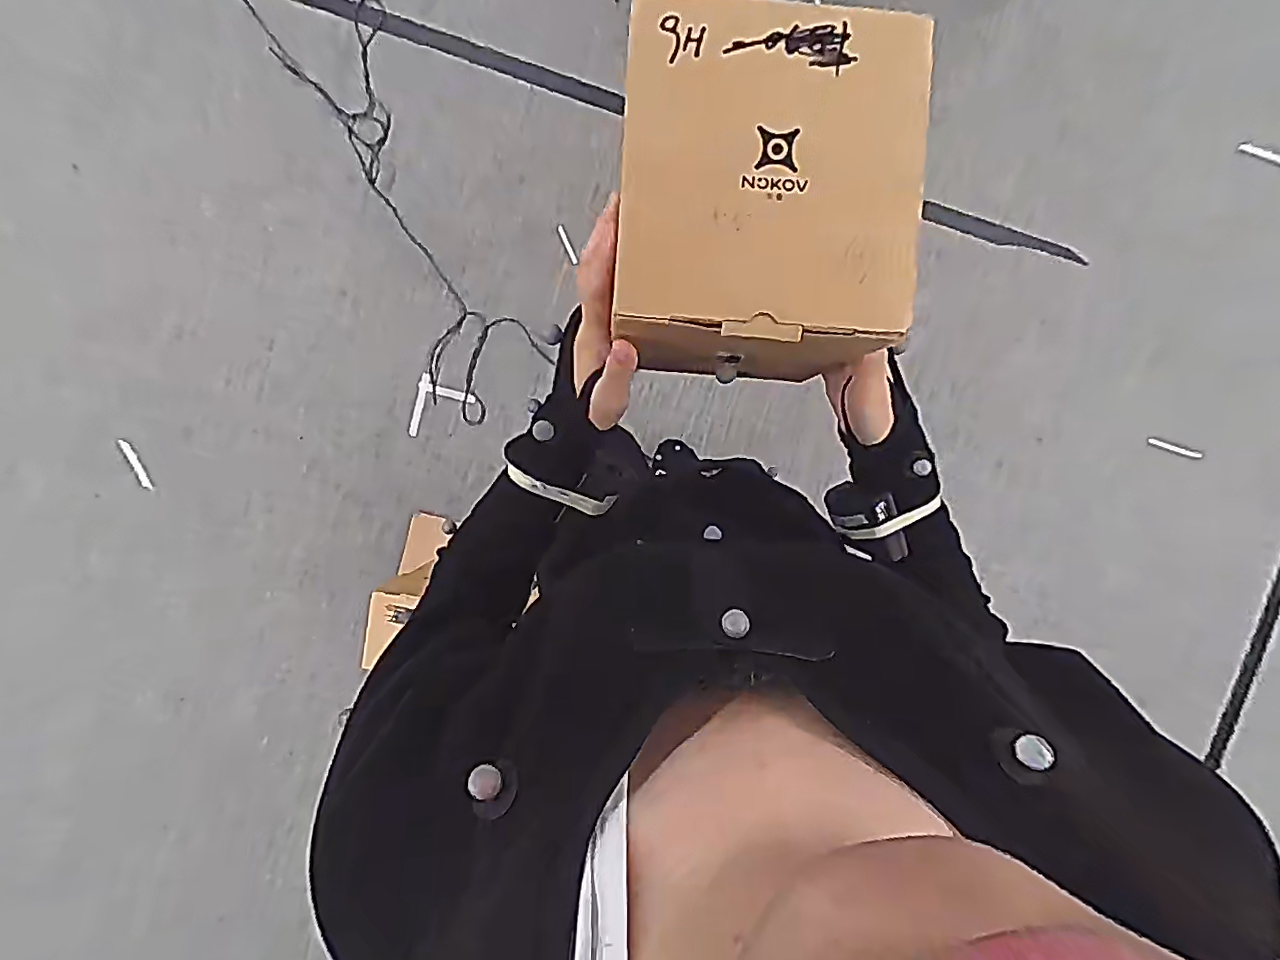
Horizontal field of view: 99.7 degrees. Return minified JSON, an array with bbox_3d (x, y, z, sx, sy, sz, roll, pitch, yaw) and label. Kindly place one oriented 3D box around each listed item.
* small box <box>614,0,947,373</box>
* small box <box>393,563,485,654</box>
[{"bbox_3d":[0.071,-0.172,0.366,0.168,0.176,0.179,4,93,-3],"label":"small box"},{"bbox_3d":[-0.511,0.324,1.401,0.168,0.176,0.179,12,94,-2],"label":"small box"}]
